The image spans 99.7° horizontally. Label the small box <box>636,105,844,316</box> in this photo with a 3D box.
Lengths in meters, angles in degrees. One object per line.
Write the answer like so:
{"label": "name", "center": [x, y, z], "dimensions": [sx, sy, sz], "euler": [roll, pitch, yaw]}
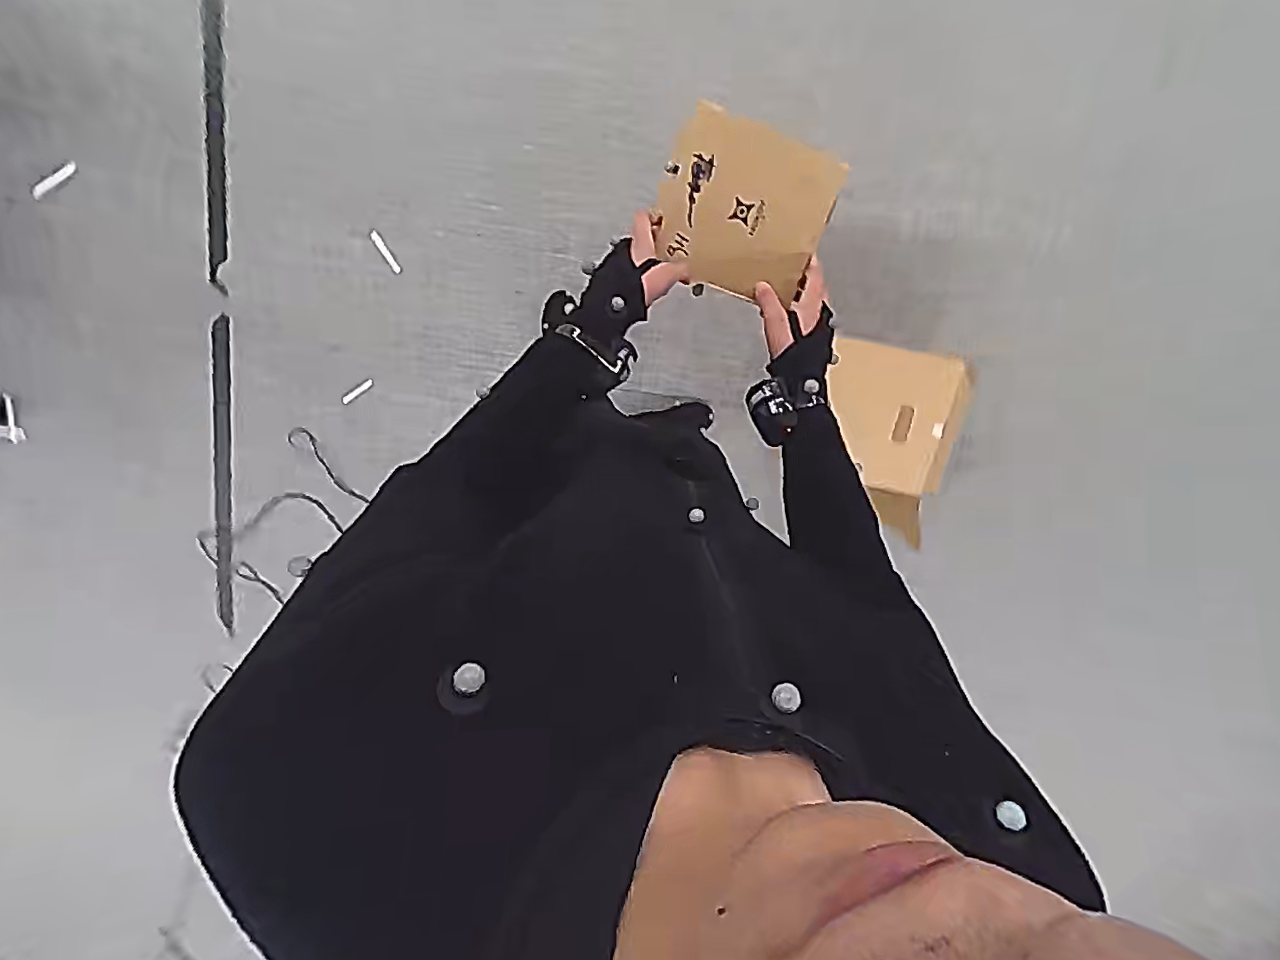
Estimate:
{"label": "small box", "center": [0.105, -0.317, 0.657], "dimensions": [0.179, 0.176, 0.168], "euler": [15, 112, -12]}
